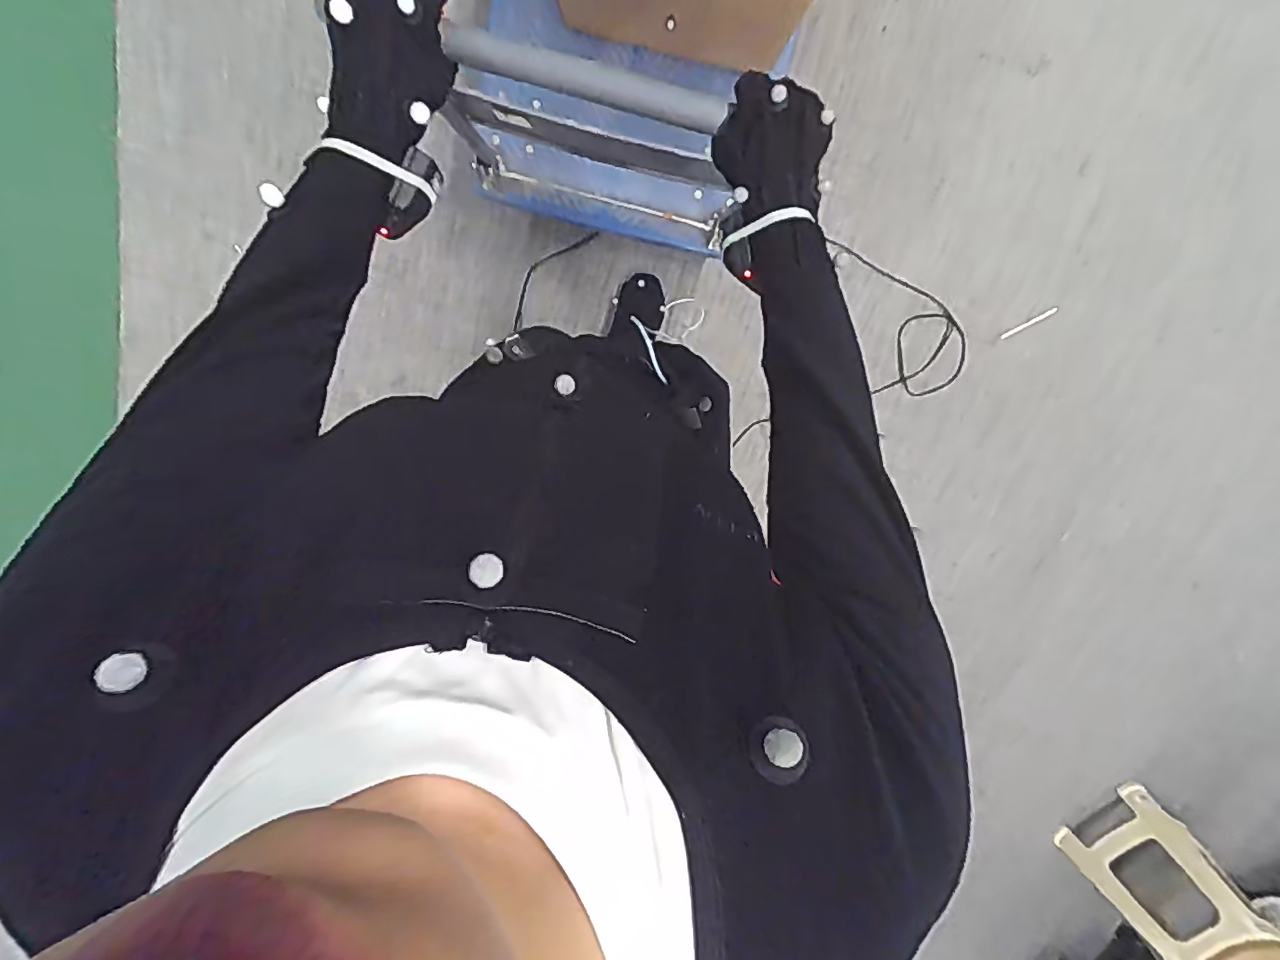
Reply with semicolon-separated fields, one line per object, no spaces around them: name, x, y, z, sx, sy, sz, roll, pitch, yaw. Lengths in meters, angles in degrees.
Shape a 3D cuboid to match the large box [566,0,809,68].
large box;0.090;-0.925;0.857;0.408;0.320;0.320;12;108;-2
